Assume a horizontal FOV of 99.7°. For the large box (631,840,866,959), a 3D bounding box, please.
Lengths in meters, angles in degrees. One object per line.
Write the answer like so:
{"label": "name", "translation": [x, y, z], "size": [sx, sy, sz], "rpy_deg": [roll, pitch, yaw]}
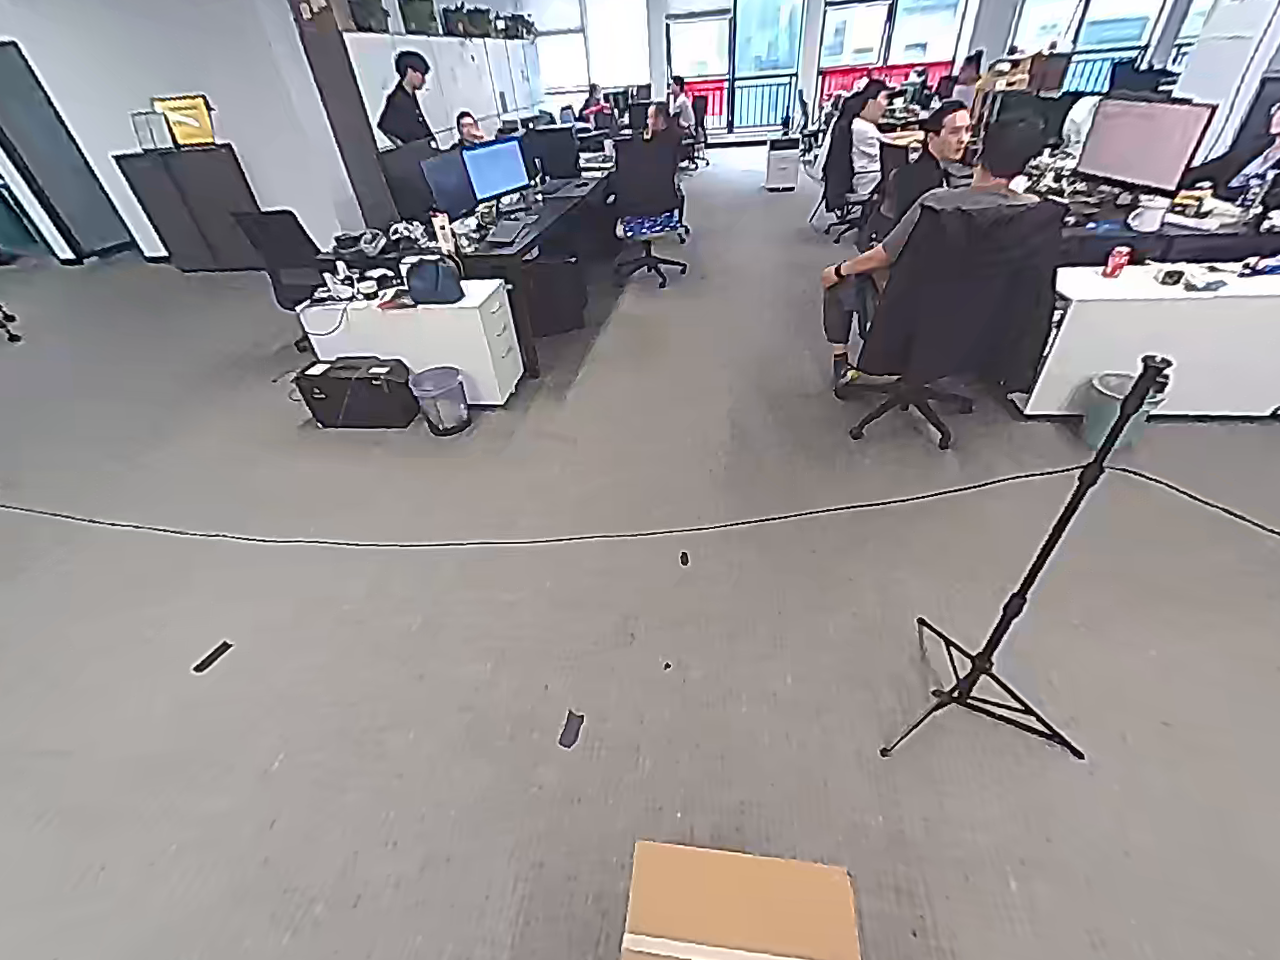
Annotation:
{"label": "large box", "translation": [0.190, 0.927, 1.013], "size": [0.408, 0.320, 0.320], "rpy_deg": [2, 39, 8]}
